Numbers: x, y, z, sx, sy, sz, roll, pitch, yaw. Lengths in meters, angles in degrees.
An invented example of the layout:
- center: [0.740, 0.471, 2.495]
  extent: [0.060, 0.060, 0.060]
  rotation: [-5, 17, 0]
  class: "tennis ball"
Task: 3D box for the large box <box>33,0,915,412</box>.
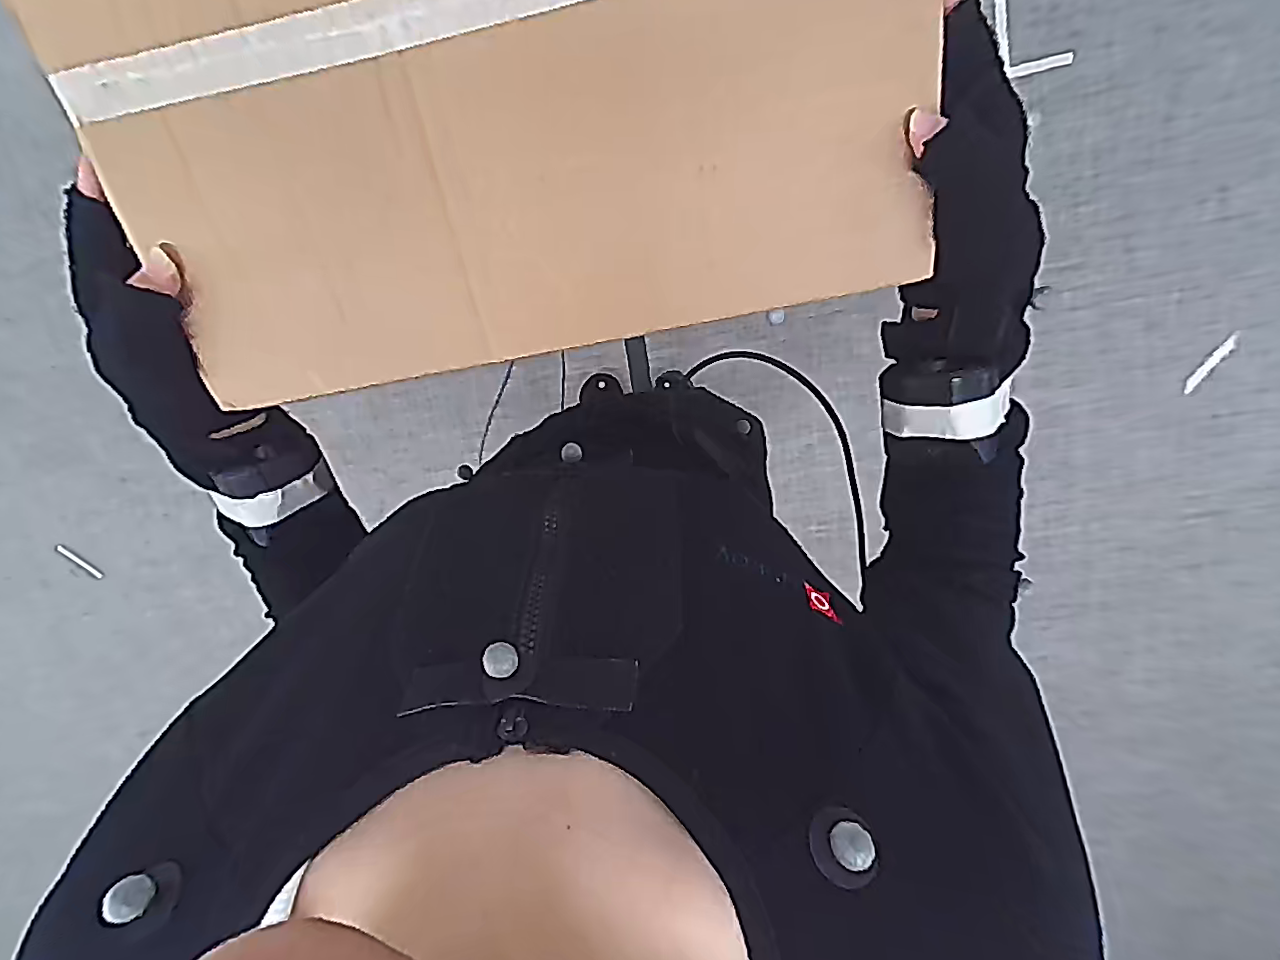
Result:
- center: [-0.072, -0.273, 0.387]
  extent: [0.408, 0.320, 0.320]
  rotation: [-10, 112, 5]
  class: "large box"
